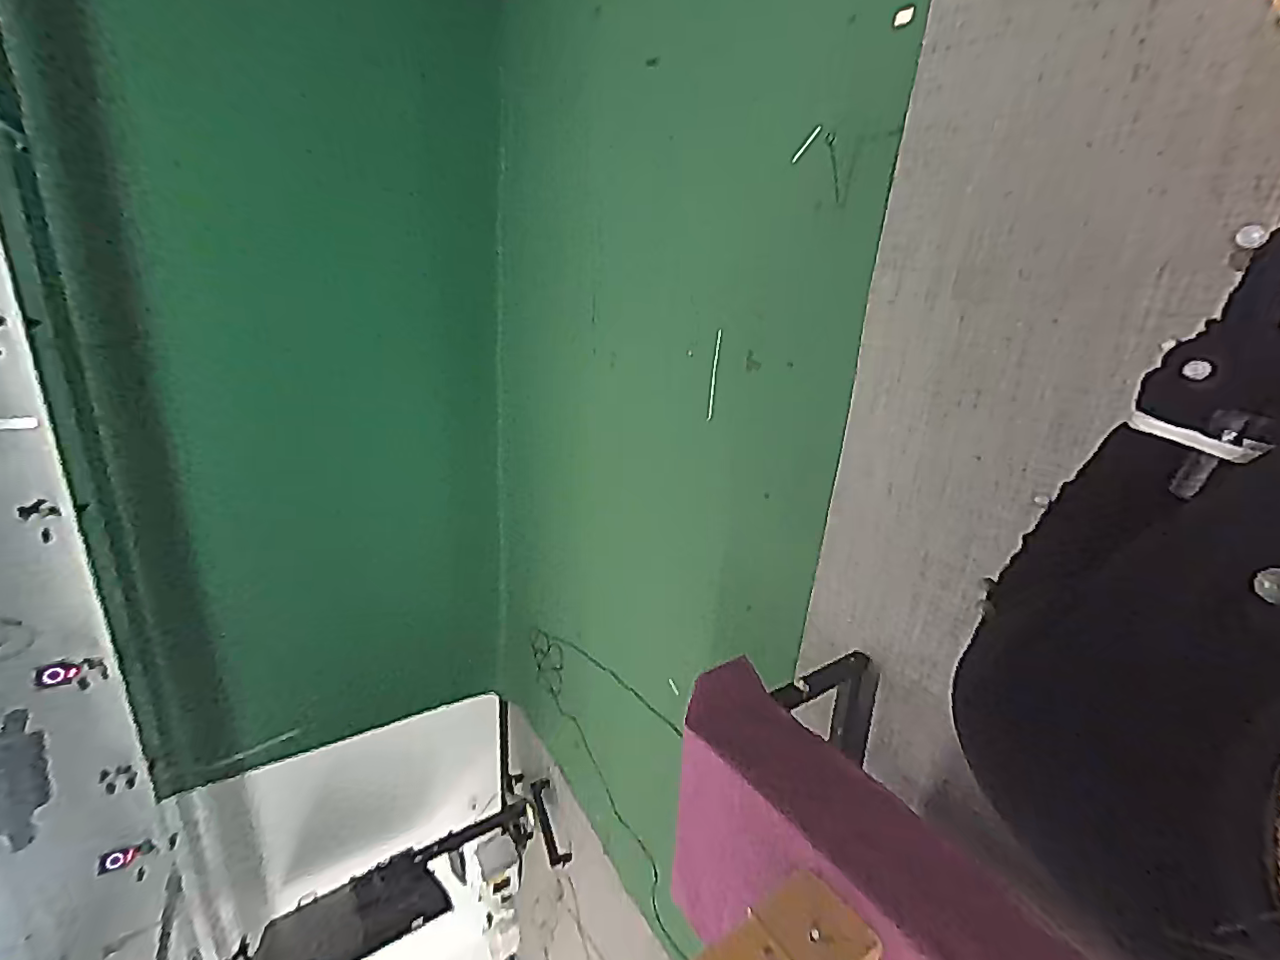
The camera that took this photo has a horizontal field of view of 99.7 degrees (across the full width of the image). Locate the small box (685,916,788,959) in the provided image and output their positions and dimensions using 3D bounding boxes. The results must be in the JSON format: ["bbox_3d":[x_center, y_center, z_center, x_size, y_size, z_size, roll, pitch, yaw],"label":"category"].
[{"bbox_3d":[0.178,0.918,0.928,0.168,0.176,0.179,25,117,52],"label":"small box"}]

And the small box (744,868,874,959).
[{"bbox_3d":[0.312,0.892,1.018,0.179,0.176,0.168,22,115,52],"label":"small box"}]
